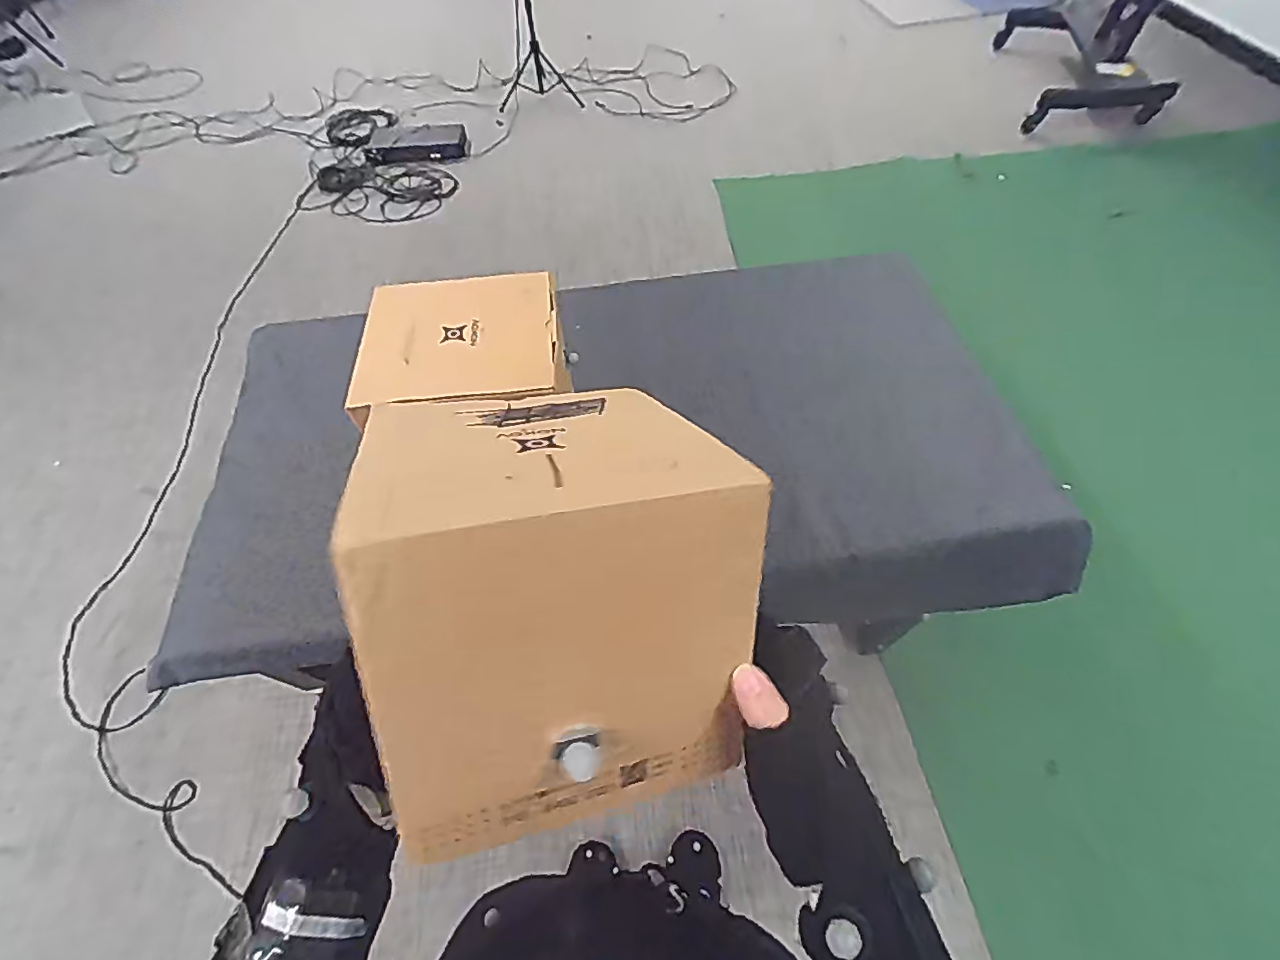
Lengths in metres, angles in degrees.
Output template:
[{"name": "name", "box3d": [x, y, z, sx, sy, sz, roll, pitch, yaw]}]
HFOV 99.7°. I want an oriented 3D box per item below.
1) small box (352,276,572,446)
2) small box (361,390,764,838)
[{"name": "small box", "box3d": [-0.163, -0.086, 0.568, 0.179, 0.176, 0.168, -7, 55, -2]}, {"name": "small box", "box3d": [-0.052, 0.053, 0.315, 0.168, 0.176, 0.179, -9, 25, -20]}]
